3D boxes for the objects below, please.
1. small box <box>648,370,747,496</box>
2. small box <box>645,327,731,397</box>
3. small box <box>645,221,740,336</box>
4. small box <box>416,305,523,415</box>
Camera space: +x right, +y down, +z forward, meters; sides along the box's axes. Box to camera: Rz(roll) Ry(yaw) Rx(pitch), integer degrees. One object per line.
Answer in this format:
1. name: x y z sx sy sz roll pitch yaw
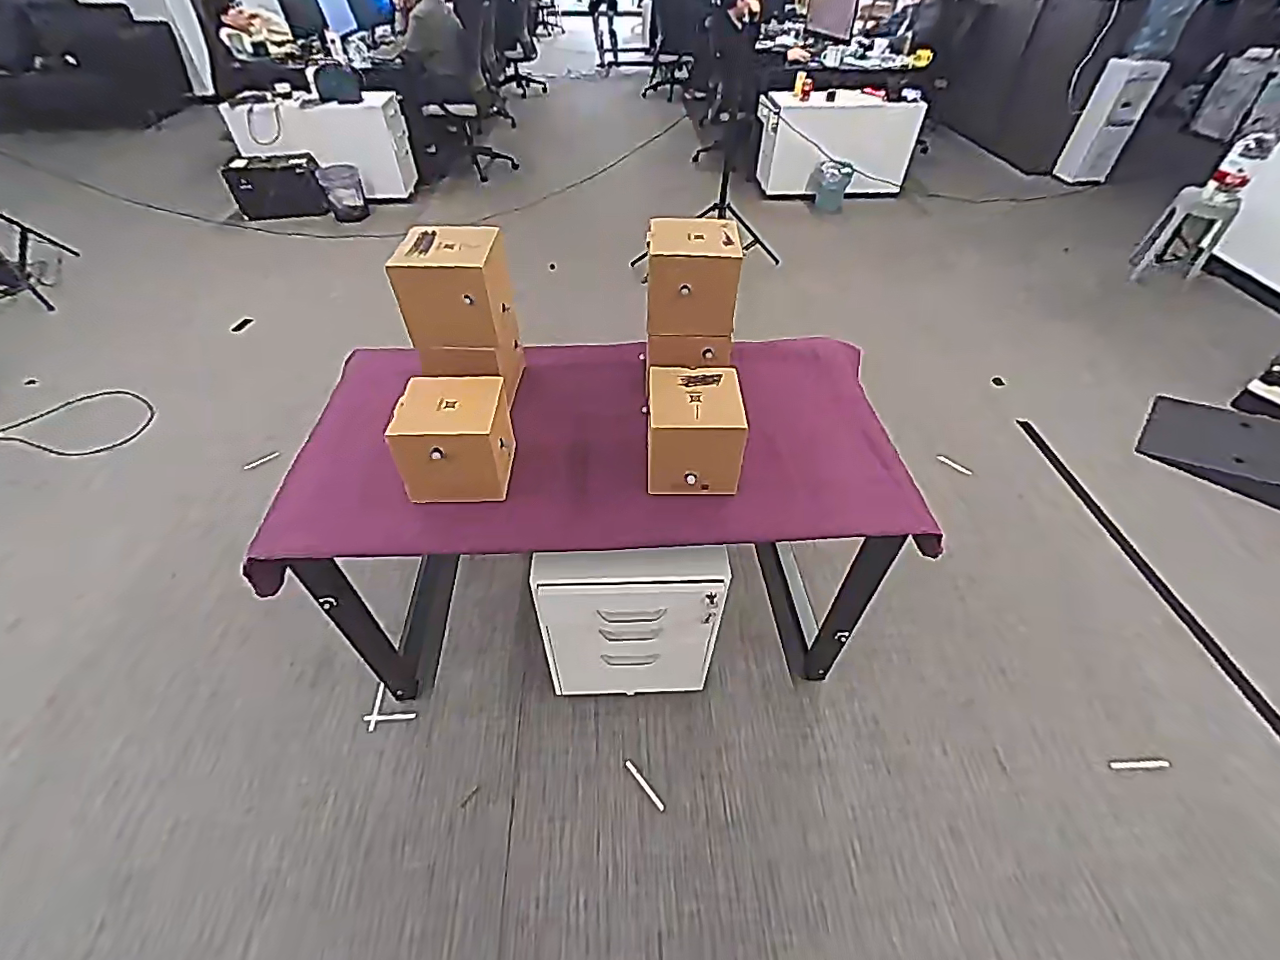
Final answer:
1. small box: 0.098 -0.090 1.022 0.168 0.176 0.179 0 46 0
2. small box: 0.101 -0.295 1.219 0.179 0.176 0.168 0 47 0
3. small box: 0.101 -0.408 1.100 0.179 0.176 0.168 1 48 2
4. small box: -0.361 -0.264 1.187 0.168 0.176 0.179 1 49 2
